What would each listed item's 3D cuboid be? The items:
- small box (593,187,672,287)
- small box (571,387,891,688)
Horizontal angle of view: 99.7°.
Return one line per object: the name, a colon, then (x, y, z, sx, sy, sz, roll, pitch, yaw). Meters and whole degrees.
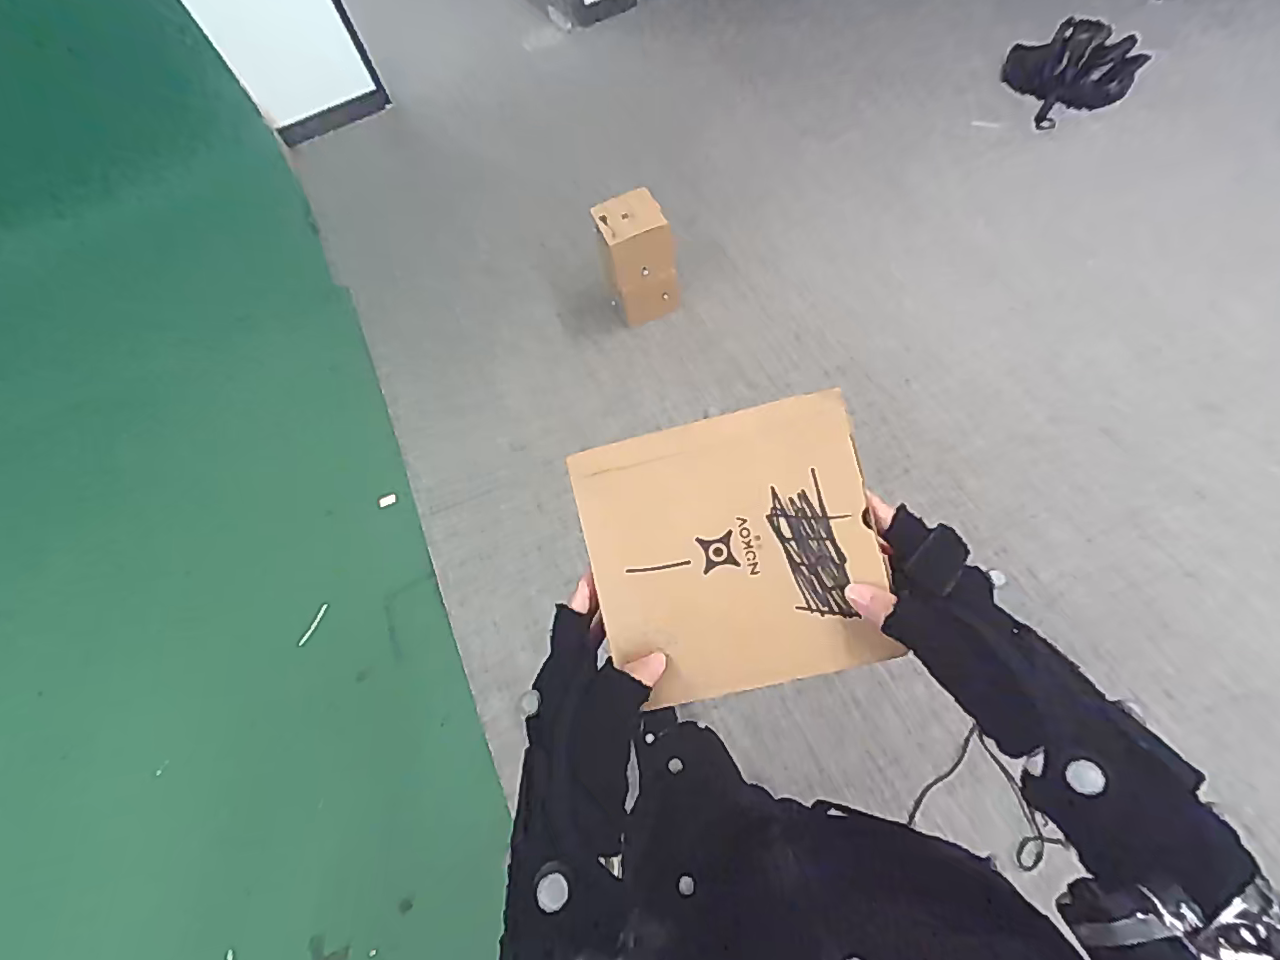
small box: (-0.016, -0.691, 1.549, 0.179, 0.176, 0.168, -22, 65, -3)
small box: (0.059, 0.039, 0.414, 0.179, 0.176, 0.168, -11, 85, 5)
